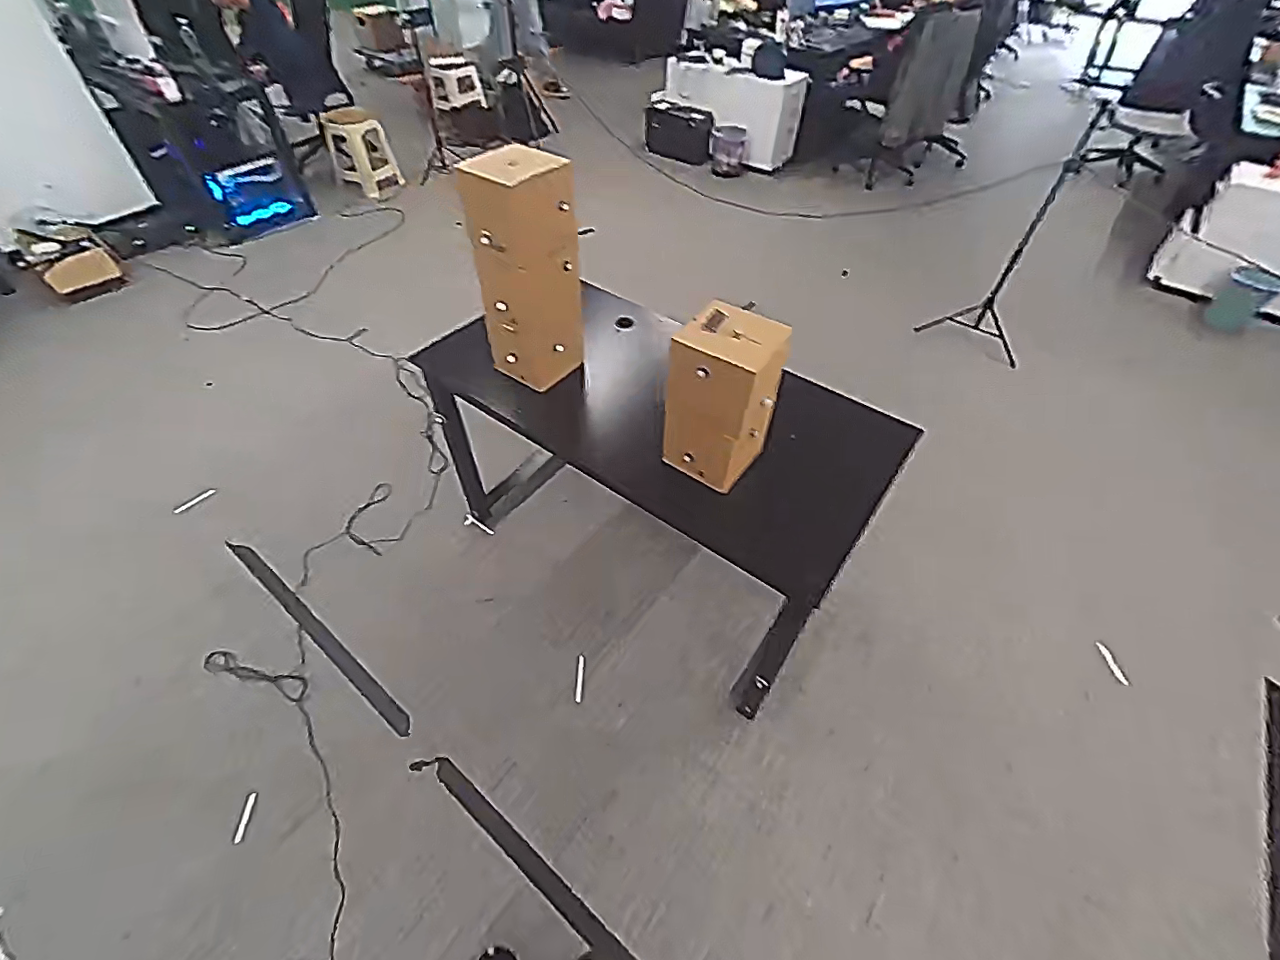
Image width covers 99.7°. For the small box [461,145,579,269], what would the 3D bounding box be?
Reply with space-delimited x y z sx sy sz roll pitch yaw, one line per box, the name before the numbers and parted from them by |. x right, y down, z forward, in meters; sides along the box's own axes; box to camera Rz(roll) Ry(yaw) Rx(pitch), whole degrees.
small box | -0.242 -0.574 1.139 0.168 0.176 0.179 29 54 23

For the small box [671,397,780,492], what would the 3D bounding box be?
small box | 0.179 -0.109 1.182 0.168 0.176 0.179 30 55 23

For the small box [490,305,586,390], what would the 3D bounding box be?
small box | -0.251 -0.359 1.386 0.168 0.176 0.179 29 55 22

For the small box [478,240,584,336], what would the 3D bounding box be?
small box | -0.246 -0.468 1.262 0.168 0.176 0.179 29 54 23

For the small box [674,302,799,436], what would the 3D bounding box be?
small box | 0.179 -0.214 1.054 0.179 0.176 0.168 28 54 20
